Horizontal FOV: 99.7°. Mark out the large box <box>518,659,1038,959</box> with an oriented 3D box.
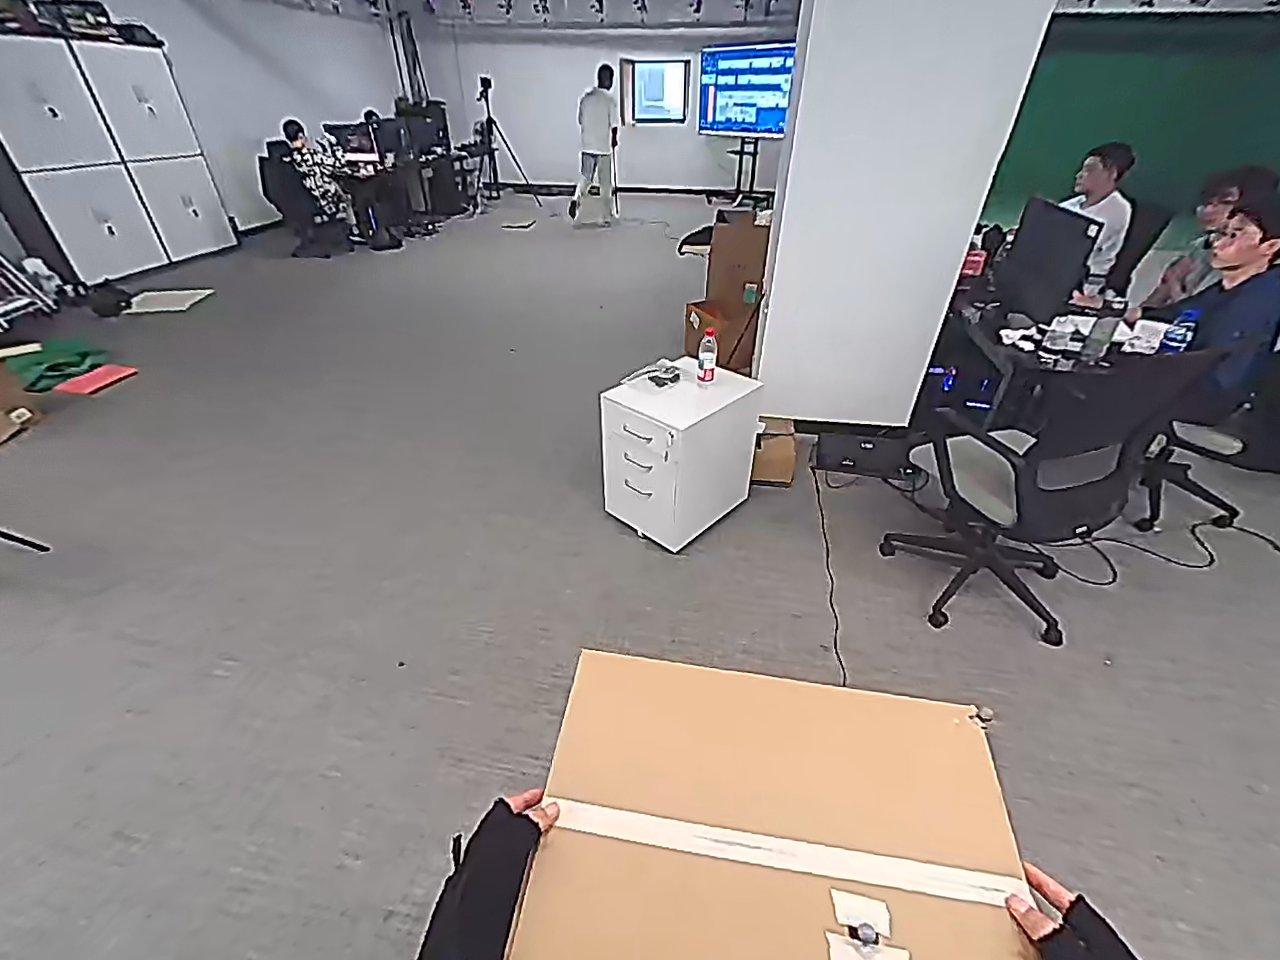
[{"bbox_3d":[0.114,0.427,0.568,0.408,0.320,0.320,7,45,6],"label":"large box"}]
